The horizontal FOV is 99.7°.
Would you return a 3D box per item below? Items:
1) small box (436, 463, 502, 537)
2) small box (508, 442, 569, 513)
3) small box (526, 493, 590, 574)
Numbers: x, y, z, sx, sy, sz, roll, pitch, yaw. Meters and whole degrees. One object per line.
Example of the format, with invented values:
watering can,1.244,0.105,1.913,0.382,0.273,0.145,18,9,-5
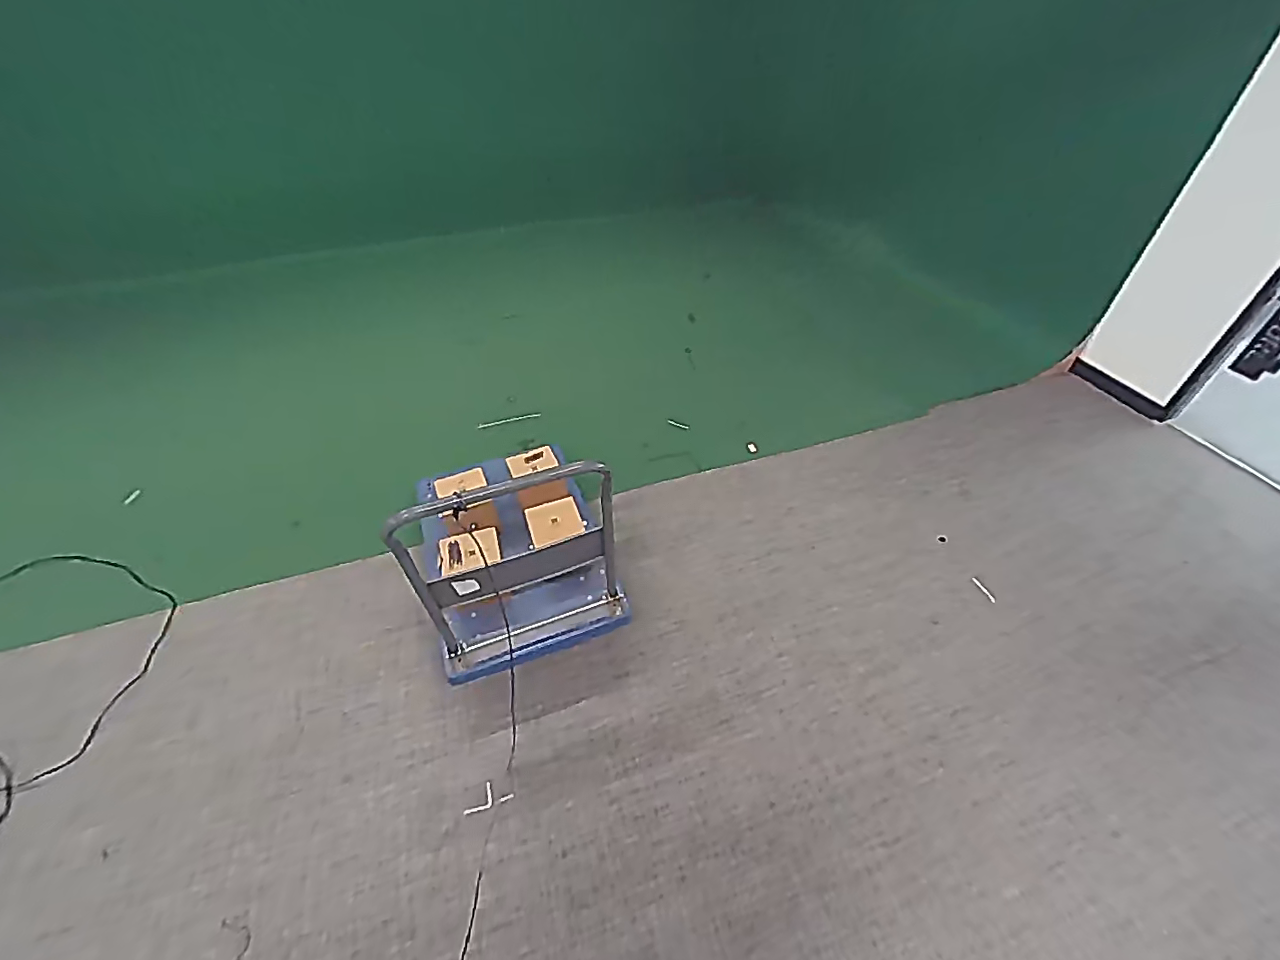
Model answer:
small box,-0.592,0.076,1.878,0.168,0.176,0.179,-18,48,-17
small box,-0.364,-0.004,1.950,0.168,0.176,0.179,-20,49,-16
small box,-0.267,0.176,1.774,0.168,0.176,0.179,-15,48,-13
